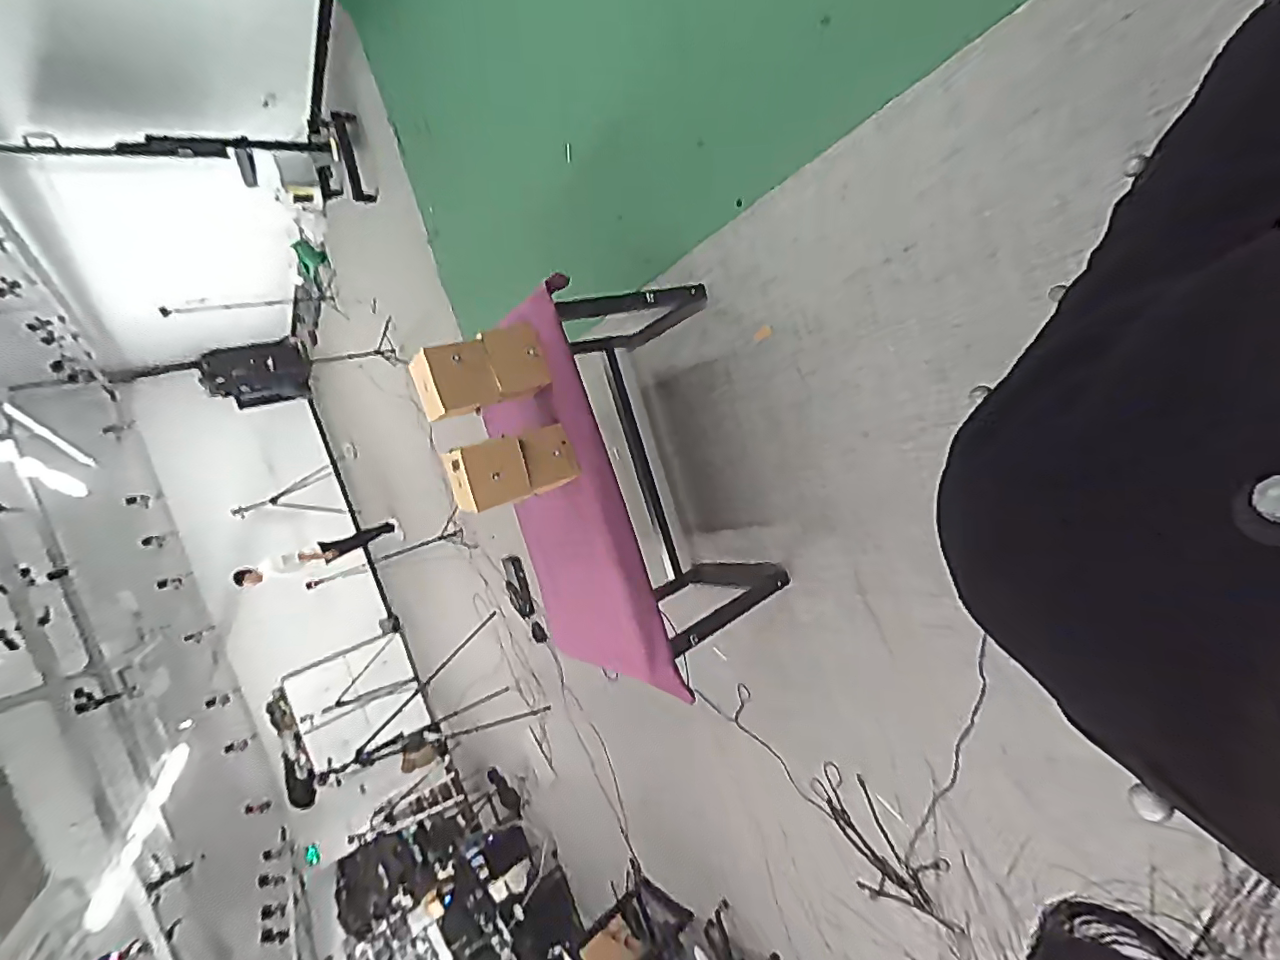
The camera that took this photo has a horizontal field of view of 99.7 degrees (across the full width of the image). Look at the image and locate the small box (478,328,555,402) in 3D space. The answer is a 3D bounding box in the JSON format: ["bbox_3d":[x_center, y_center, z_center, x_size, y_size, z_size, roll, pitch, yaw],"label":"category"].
[{"bbox_3d":[-0.377,-0.336,1.595,0.168,0.176,0.179,-19,92,55],"label":"small box"}]

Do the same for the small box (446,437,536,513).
[{"bbox_3d":[-0.417,-0.021,1.522,0.168,0.176,0.179,2,109,54],"label":"small box"}]

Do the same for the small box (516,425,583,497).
[{"bbox_3d":[-0.298,-0.051,1.635,0.179,0.176,0.168,-23,88,56],"label":"small box"}]

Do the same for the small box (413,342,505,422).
[{"bbox_3d":[-0.503,-0.276,1.508,0.168,0.176,0.179,-9,101,54],"label":"small box"}]
